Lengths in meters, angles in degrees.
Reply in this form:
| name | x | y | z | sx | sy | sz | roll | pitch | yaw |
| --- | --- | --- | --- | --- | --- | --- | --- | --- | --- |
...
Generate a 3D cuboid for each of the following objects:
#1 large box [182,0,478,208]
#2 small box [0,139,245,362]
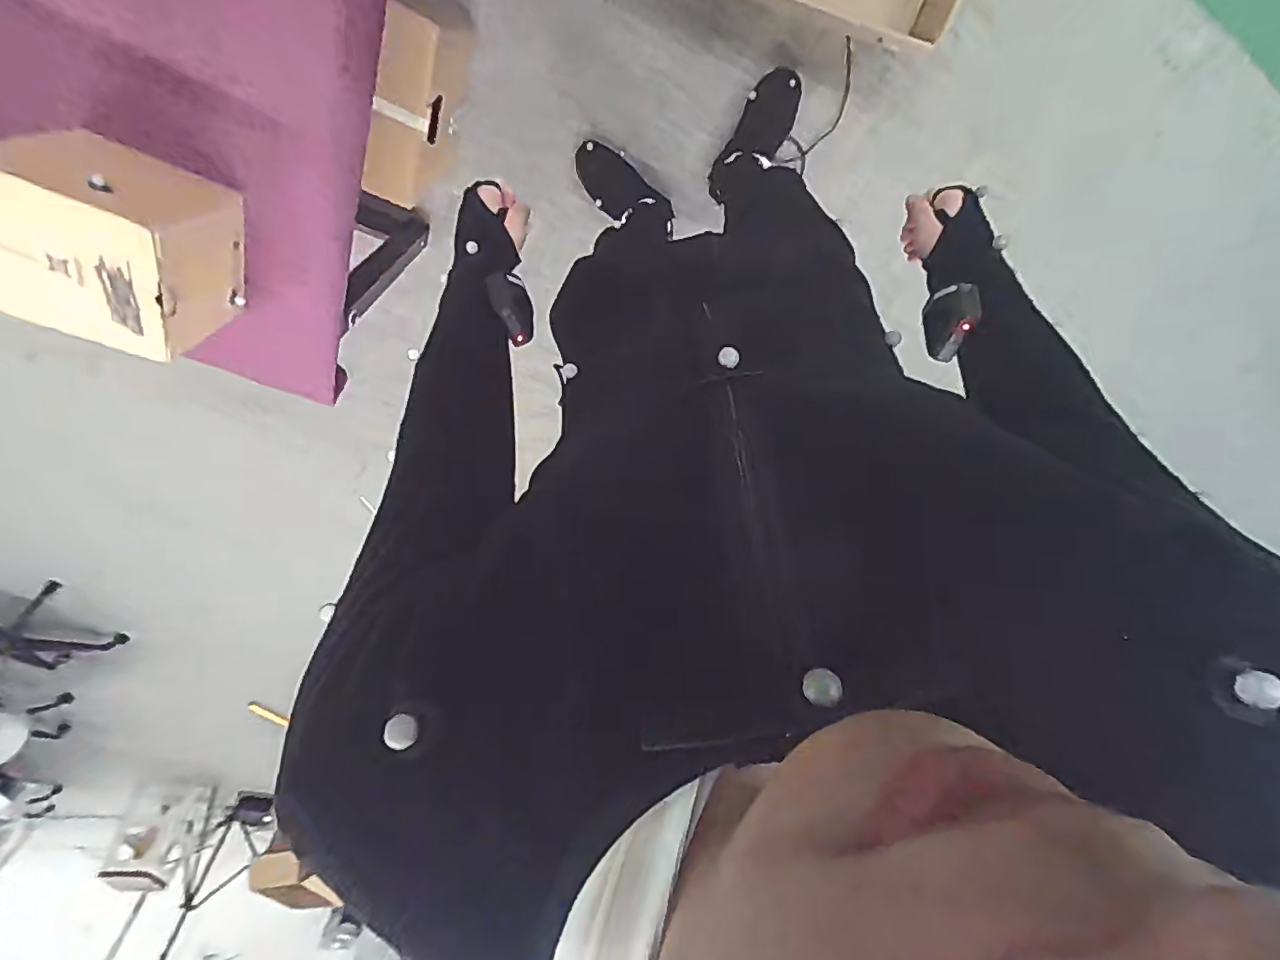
| name | x | y | z | sx | sy | sz | roll | pitch | yaw |
| --- | --- | --- | --- | --- | --- | --- | --- | --- | --- |
| large box | -0.574 | -0.801 | 1.061 | 0.408 | 0.320 | 0.320 | 19 | 125 | -14 |
| small box | -0.600 | -0.273 | 0.635 | 0.179 | 0.176 | 0.168 | 19 | 125 | -15 |
